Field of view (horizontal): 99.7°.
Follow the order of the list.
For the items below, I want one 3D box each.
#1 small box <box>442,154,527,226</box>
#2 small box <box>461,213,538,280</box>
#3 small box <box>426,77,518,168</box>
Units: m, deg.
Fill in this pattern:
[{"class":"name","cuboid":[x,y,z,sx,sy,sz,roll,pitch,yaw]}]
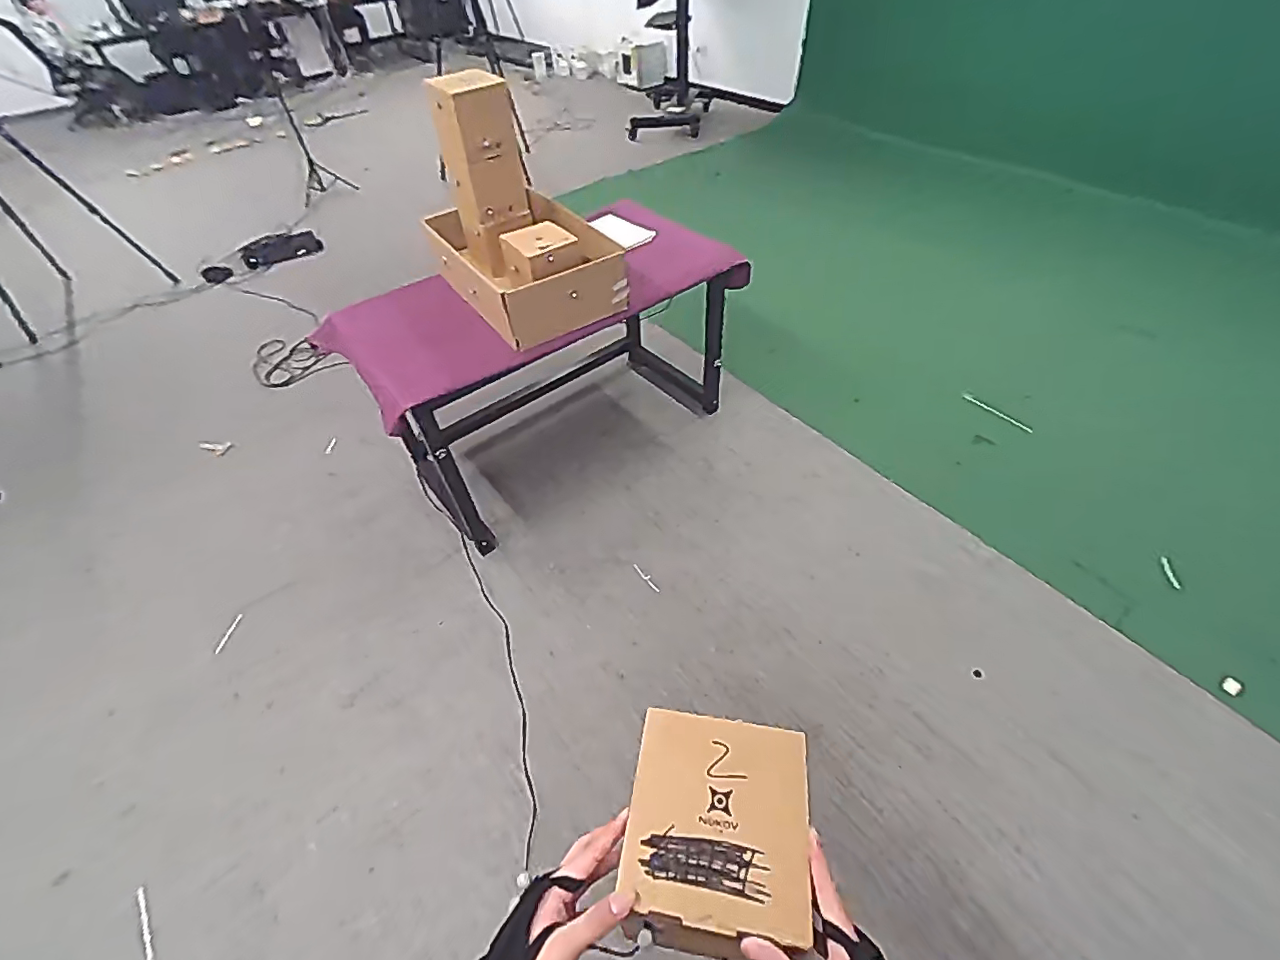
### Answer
[{"class":"small box","cuboid":[-0.460,-0.886,1.626,0.168,0.176,0.179,-32,54,-23]},{"class":"small box","cuboid":[-0.450,-0.773,1.745,0.168,0.176,0.179,-31,55,-23]},{"class":"small box","cuboid":[-0.464,-0.994,1.504,0.168,0.176,0.179,-32,56,-23]}]
